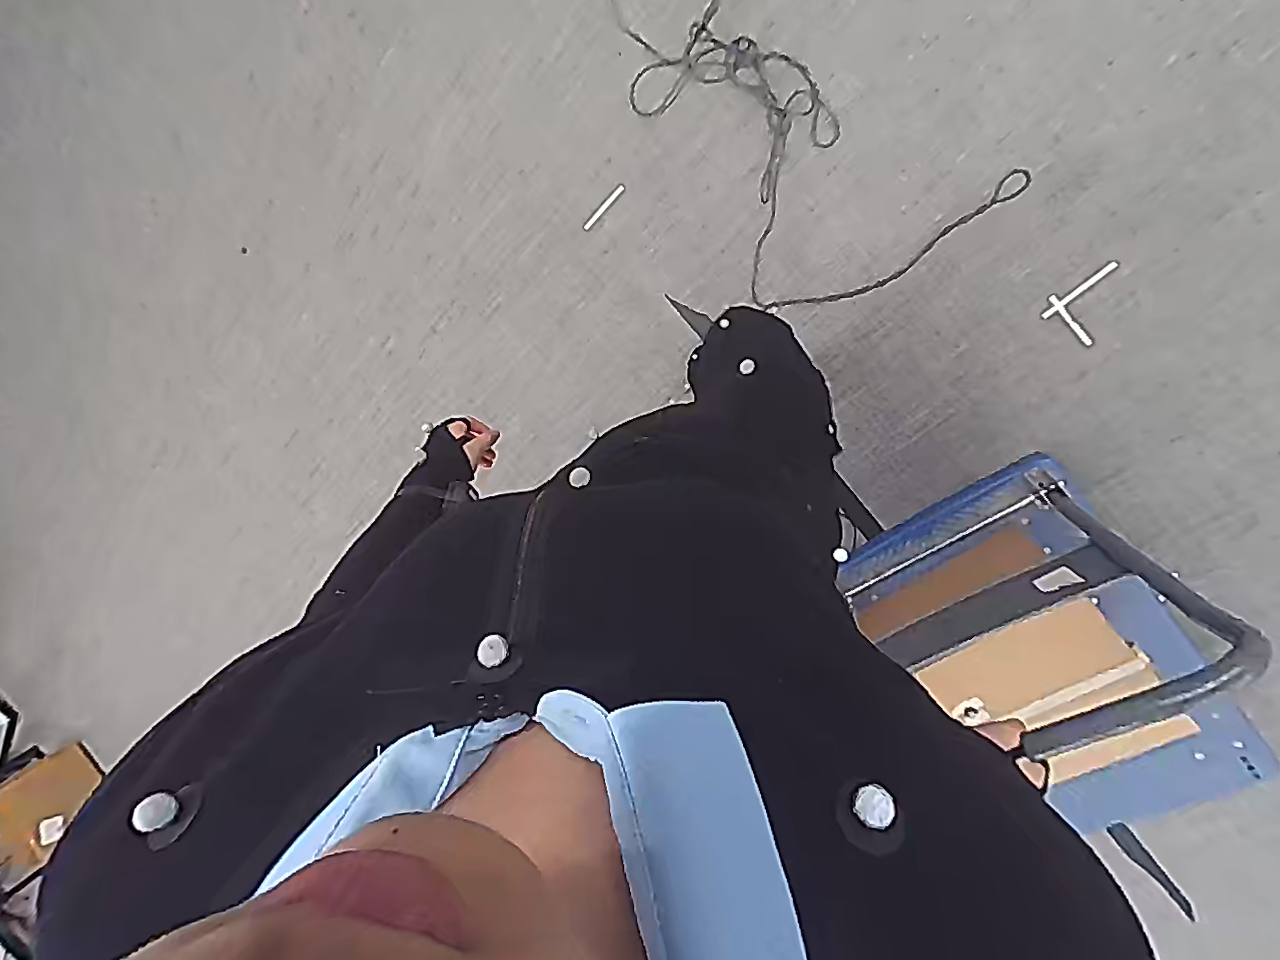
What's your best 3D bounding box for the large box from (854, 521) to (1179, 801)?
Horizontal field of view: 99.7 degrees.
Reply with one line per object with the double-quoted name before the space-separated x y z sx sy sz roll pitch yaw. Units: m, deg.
"large box" 0.712 0.357 1.112 0.408 0.320 0.320 -41 91 25
